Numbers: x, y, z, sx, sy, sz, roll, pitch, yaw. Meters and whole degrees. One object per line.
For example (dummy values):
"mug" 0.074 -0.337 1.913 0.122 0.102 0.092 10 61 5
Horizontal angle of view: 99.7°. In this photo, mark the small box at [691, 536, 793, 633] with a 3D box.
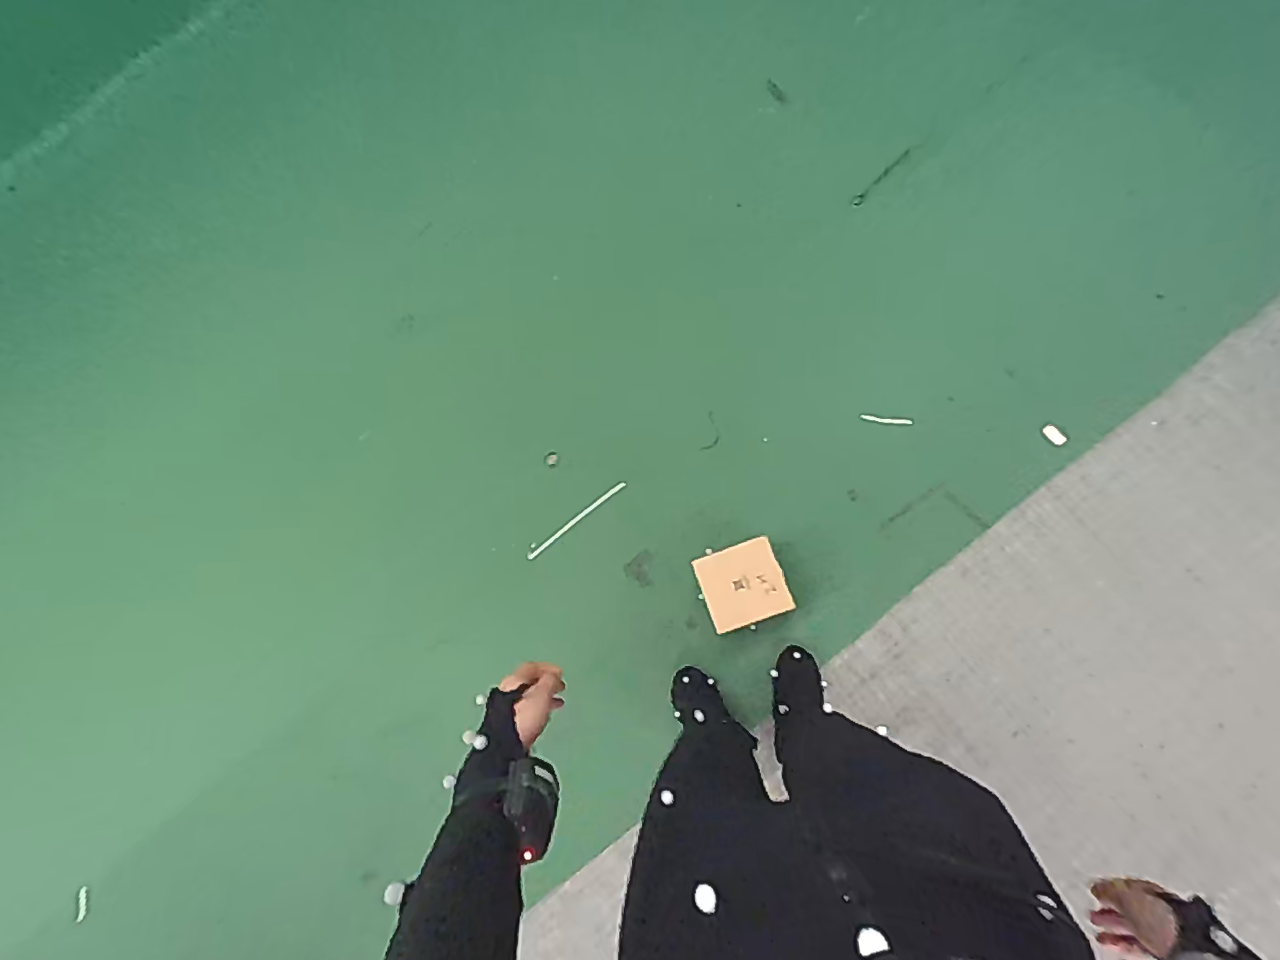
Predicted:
"small box" 0.228 0.241 1.230 0.179 0.176 0.168 -20 76 3
